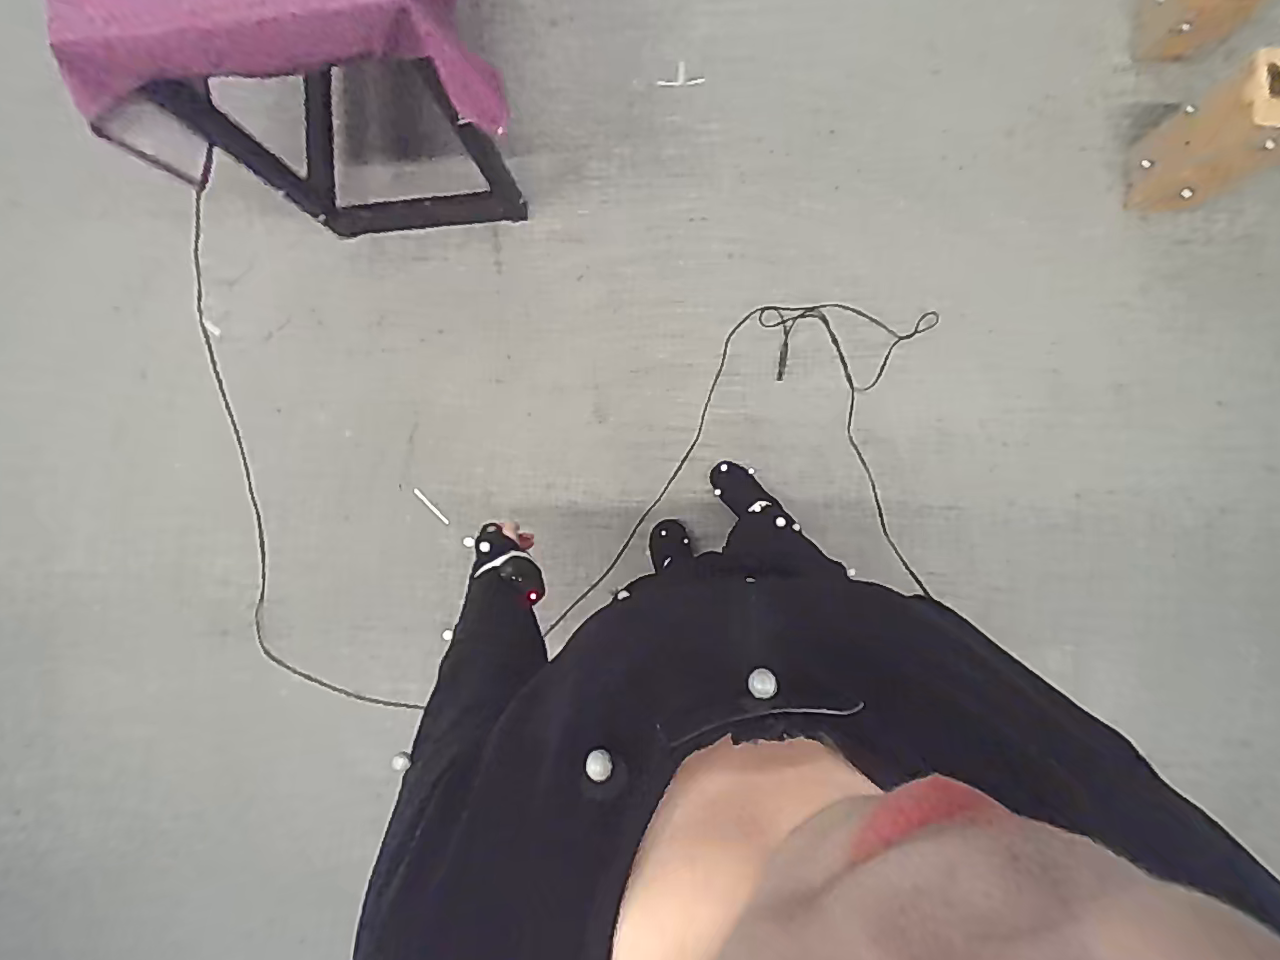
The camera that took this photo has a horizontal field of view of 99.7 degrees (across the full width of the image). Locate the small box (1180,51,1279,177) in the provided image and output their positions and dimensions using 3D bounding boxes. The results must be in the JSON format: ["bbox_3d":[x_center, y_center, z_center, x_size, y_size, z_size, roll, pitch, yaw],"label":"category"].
[{"bbox_3d":[1.351,-0.794,1.187,0.179,0.176,0.168,4,89,4],"label":"small box"}]

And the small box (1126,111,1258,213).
[{"bbox_3d":[1.369,-0.788,1.351,0.179,0.176,0.168,3,89,5],"label":"small box"}]
